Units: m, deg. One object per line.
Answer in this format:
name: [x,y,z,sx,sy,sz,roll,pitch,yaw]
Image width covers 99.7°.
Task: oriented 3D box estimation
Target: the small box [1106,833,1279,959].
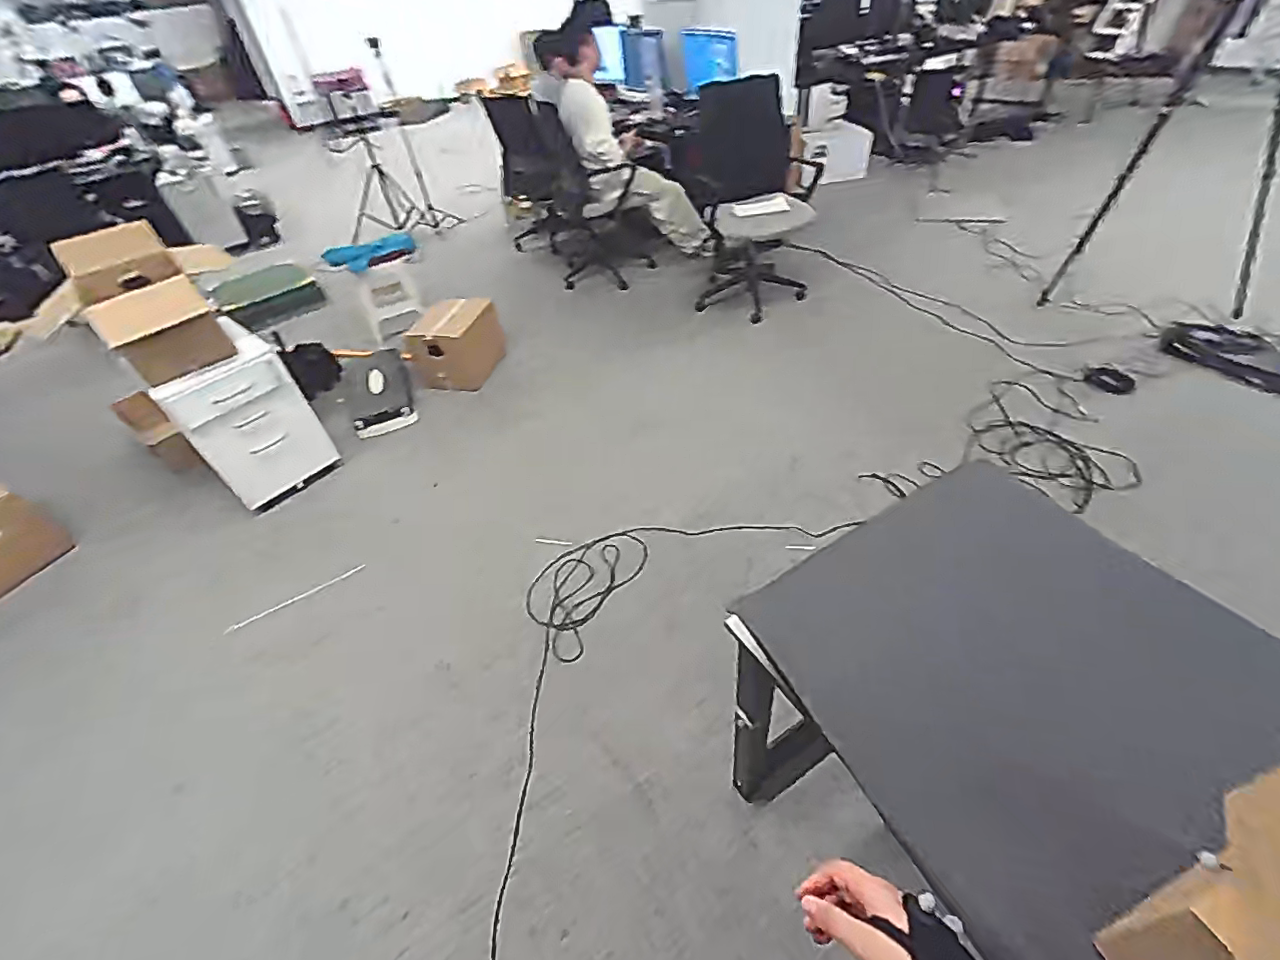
small box: [0.566,0.434,0.463,0.179,0.176,0.168,-18,43,-14]
